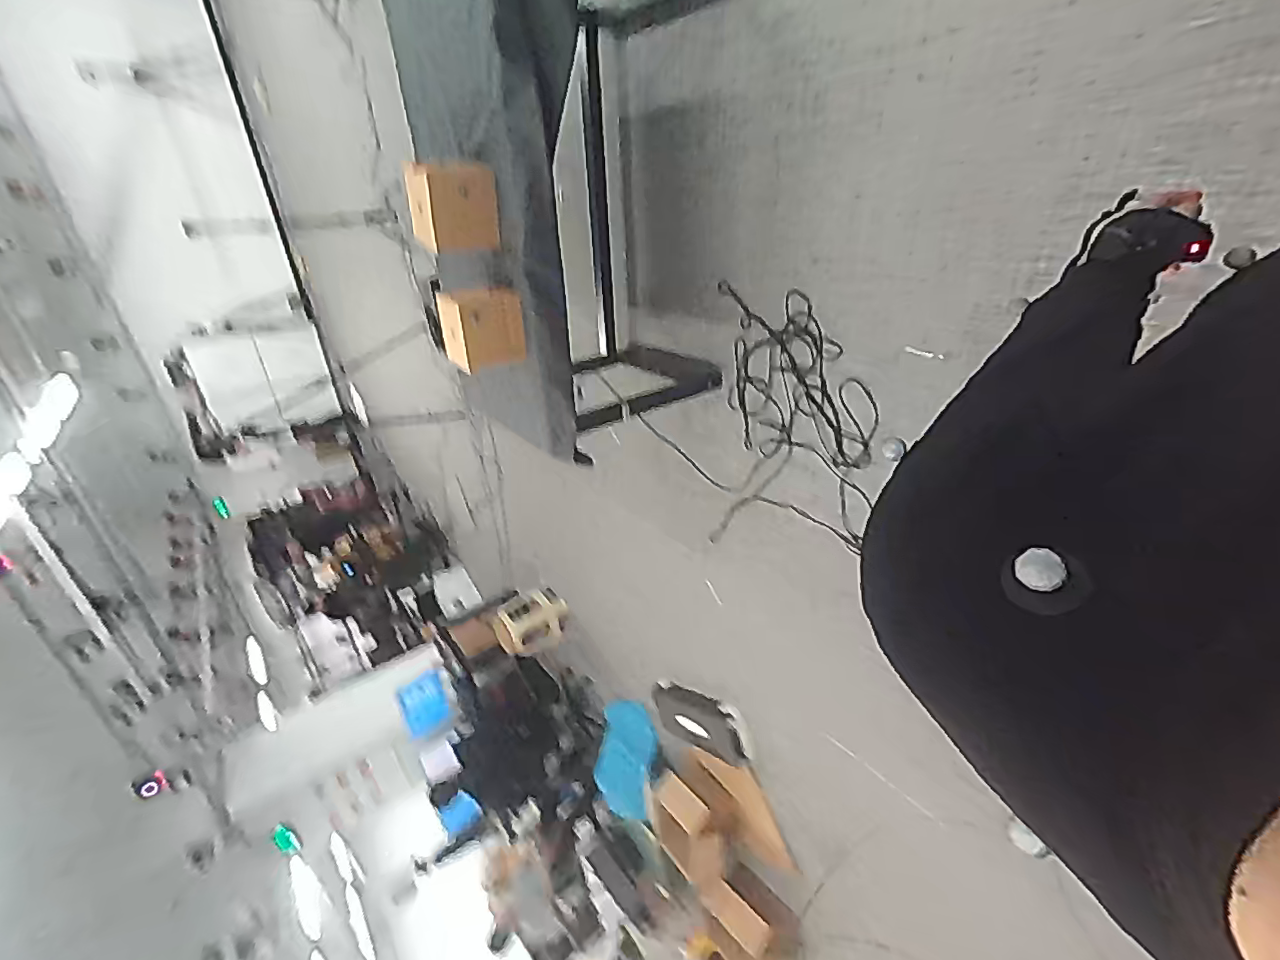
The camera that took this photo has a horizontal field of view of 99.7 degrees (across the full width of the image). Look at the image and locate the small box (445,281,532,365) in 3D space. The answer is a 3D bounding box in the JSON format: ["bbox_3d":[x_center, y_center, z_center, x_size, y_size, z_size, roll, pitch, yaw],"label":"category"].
[{"bbox_3d":[-0.400,-0.425,1.447,0.168,0.176,0.179,34,134,45],"label":"small box"}]

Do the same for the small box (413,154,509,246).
[{"bbox_3d":[-0.440,-0.701,1.347,0.168,0.176,0.179,42,141,39],"label":"small box"}]
